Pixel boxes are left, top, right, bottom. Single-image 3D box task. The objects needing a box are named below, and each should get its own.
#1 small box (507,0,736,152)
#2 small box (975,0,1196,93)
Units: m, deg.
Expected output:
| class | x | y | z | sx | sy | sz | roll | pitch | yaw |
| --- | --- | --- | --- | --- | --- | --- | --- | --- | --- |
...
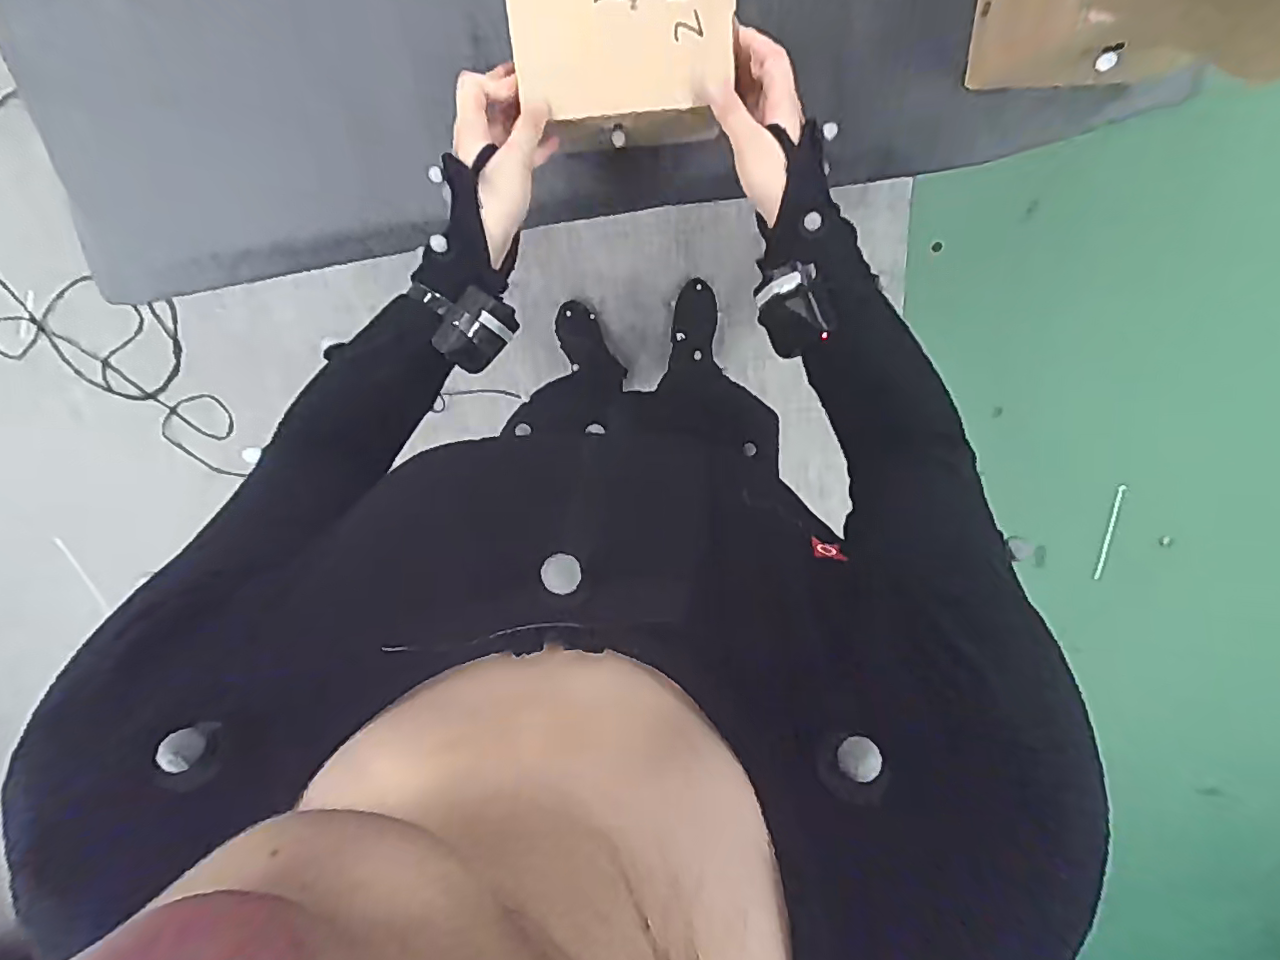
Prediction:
| class | x | y | z | sx | sy | sz | roll | pitch | yaw |
| --- | --- | --- | --- | --- | --- | --- | --- | --- | --- |
| small box | -0.011 | -0.398 | 0.476 | 0.179 | 0.176 | 0.168 | -3 | 116 | 3 |
| small box | 0.416 | -0.439 | 0.445 | 0.179 | 0.176 | 0.168 | -1 | 112 | 2 |
